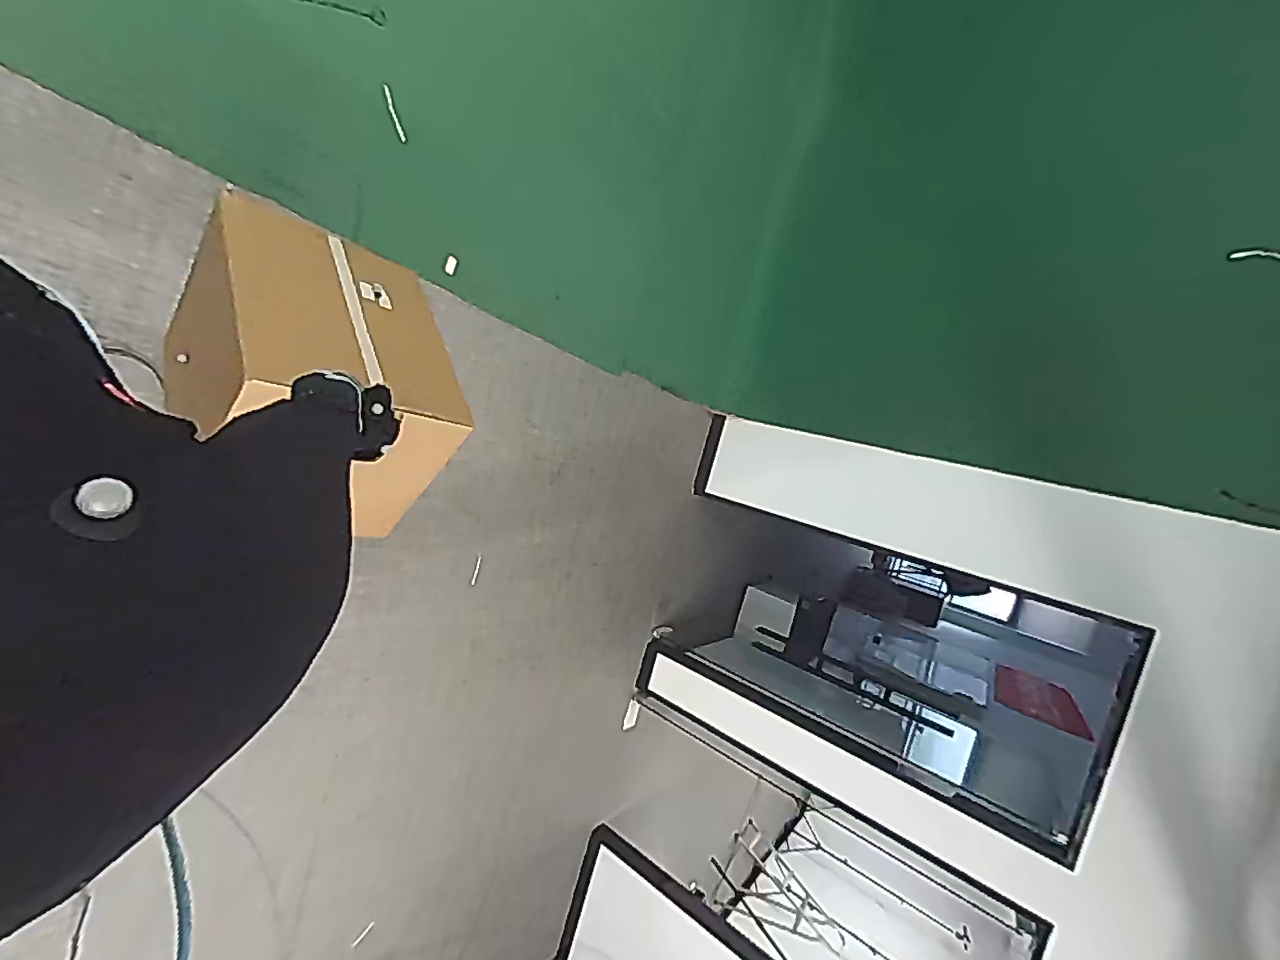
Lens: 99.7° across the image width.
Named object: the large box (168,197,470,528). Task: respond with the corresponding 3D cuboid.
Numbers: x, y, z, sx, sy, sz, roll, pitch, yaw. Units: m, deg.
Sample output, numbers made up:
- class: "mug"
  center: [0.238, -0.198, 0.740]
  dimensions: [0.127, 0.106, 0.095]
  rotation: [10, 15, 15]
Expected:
- class: "large box"
  center: [-0.550, -0.167, 0.908]
  dimensions: [0.320, 0.408, 0.320]
  rotation: [-44, 150, 25]
